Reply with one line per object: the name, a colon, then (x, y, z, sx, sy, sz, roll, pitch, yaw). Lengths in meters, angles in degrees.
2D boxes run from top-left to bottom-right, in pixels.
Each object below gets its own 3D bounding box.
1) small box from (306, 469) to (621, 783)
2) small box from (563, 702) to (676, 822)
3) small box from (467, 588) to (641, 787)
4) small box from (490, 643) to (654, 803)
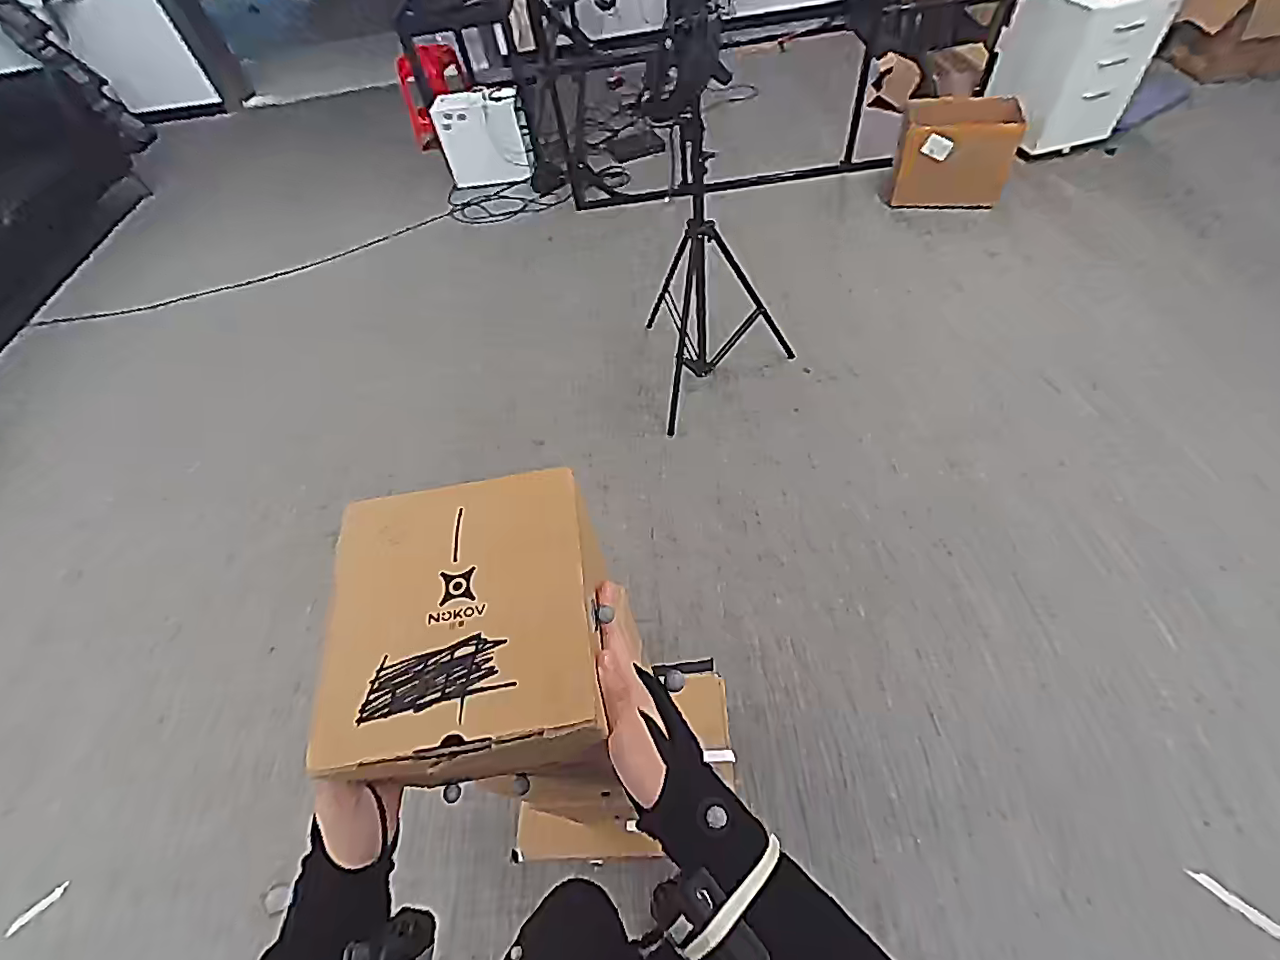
small box: (-0.112, 0.119, 0.410, 0.168, 0.176, 0.179, -10, 58, -2)
small box: (-0.034, 0.510, 0.972, 0.179, 0.176, 0.168, -6, 55, 3)
small box: (-0.092, 0.225, 0.577, 0.179, 0.176, 0.168, -4, 55, 6)
small box: (-0.073, 0.319, 0.707, 0.179, 0.176, 0.168, -4, 54, 5)
